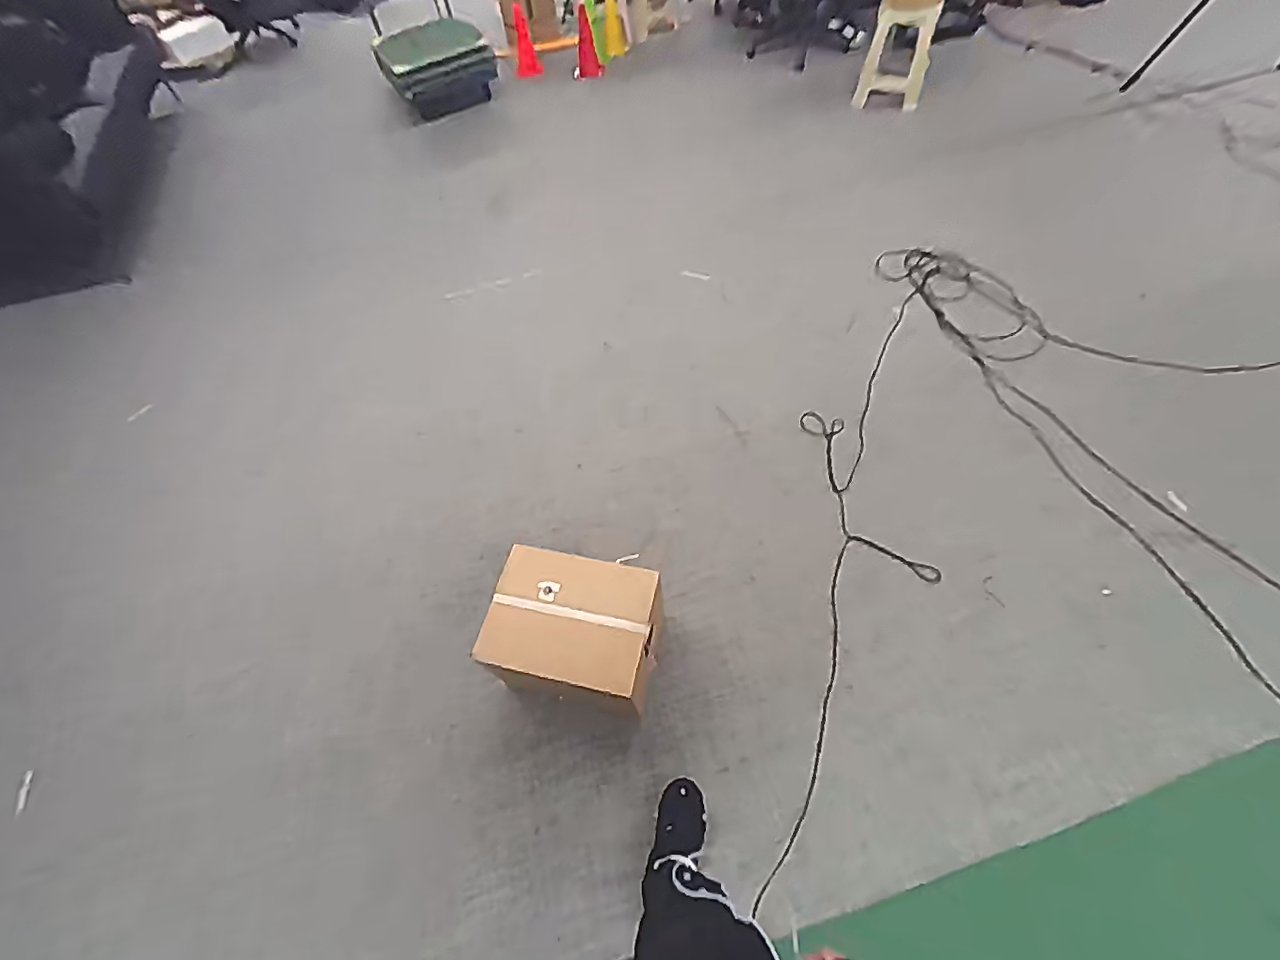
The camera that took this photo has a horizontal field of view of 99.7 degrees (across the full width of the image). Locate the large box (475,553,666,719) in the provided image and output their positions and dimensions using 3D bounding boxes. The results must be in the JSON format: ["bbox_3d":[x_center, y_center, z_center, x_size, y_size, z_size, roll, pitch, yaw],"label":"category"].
[{"bbox_3d":[-0.158,0.425,1.459,0.408,0.320,0.320,8,58,12],"label":"large box"}]
